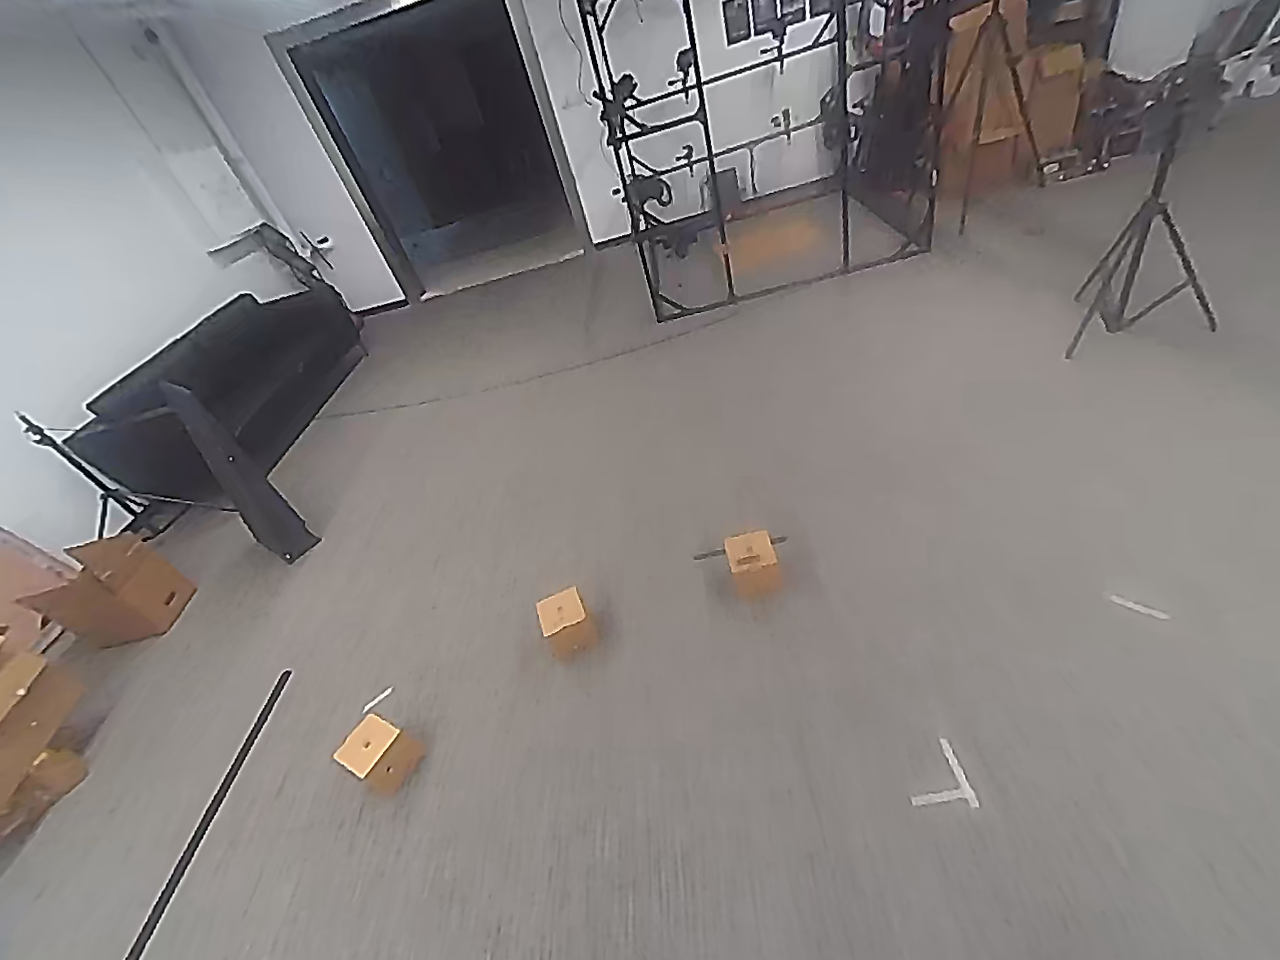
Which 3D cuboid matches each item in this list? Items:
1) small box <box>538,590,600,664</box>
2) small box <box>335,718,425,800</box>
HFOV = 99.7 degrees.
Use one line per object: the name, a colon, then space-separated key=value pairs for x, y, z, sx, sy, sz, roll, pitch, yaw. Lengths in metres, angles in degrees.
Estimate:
small box: x=-0.269 y=0.556 z=2.041 sx=0.168 sy=0.176 sz=0.179 roll=-24 pitch=38 yaw=-7
small box: x=-0.864 y=0.939 z=1.815 sx=0.179 sy=0.176 sz=0.168 roll=9 pitch=46 yaw=32
